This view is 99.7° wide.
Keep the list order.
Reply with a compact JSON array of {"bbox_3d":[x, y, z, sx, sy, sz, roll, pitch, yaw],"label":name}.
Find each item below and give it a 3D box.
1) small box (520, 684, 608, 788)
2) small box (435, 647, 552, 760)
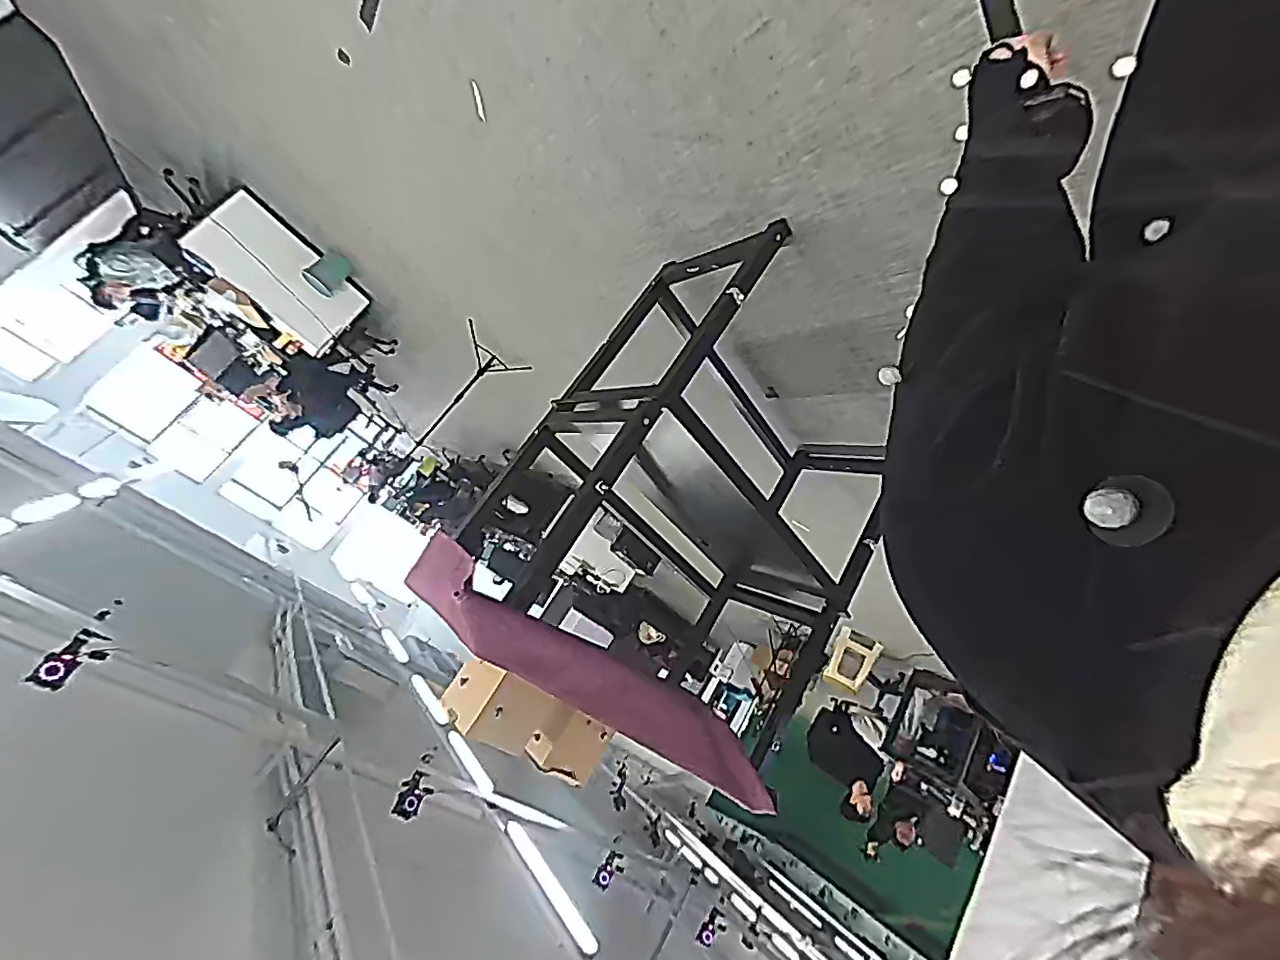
[{"bbox_3d":[-0.211,0.679,1.450,0.168,0.176,0.179,45,160,-32],"label":"small box"},{"bbox_3d":[-0.349,0.531,1.302,0.168,0.176,0.179,14,155,49],"label":"small box"}]
